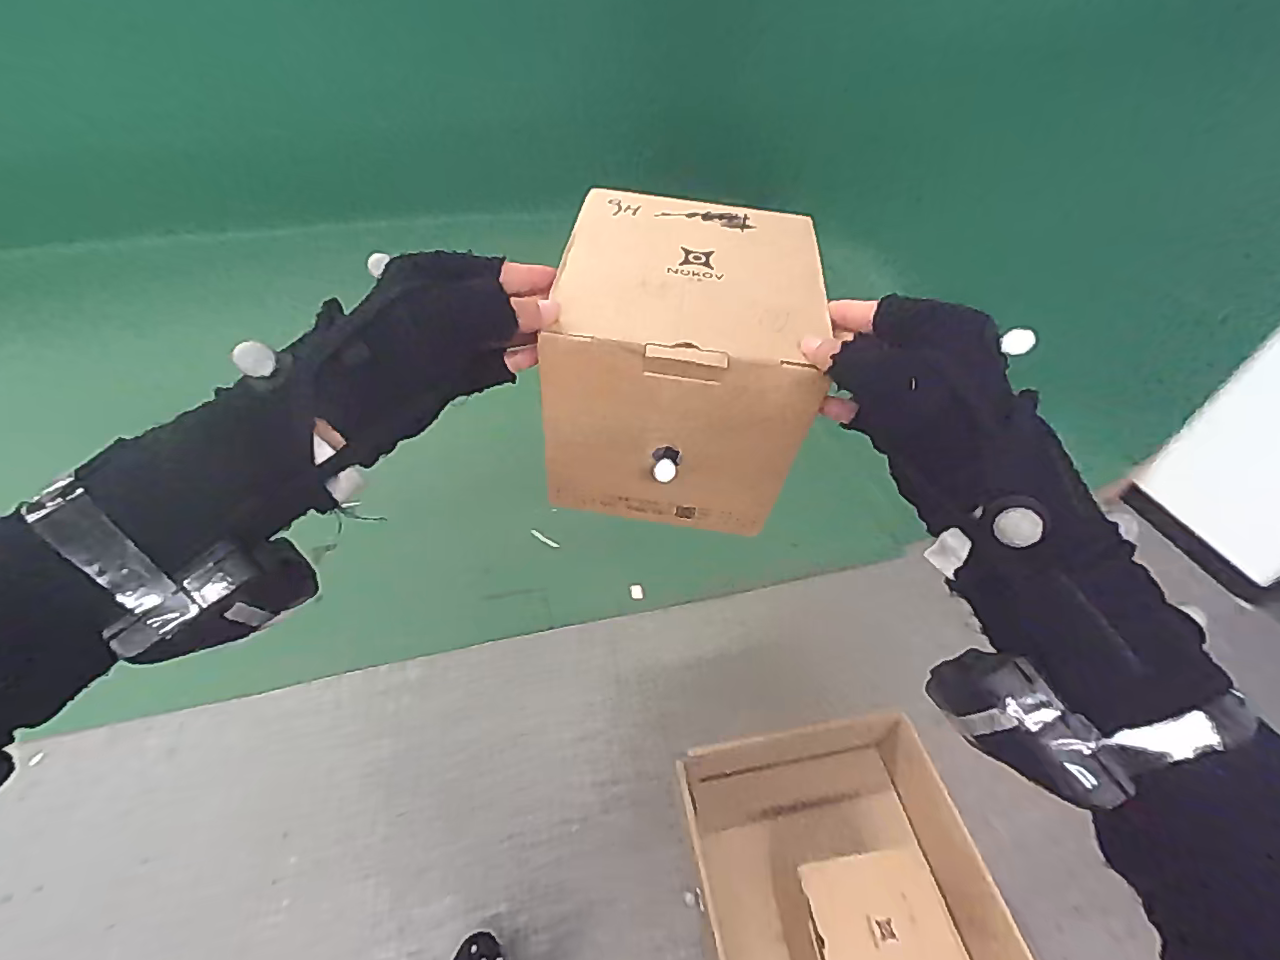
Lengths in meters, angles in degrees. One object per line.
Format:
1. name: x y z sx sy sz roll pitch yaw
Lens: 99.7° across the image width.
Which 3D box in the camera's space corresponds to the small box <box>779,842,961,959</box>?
1. small box: 0.308 0.629 0.756 0.179 0.176 0.168 -4 49 -8
